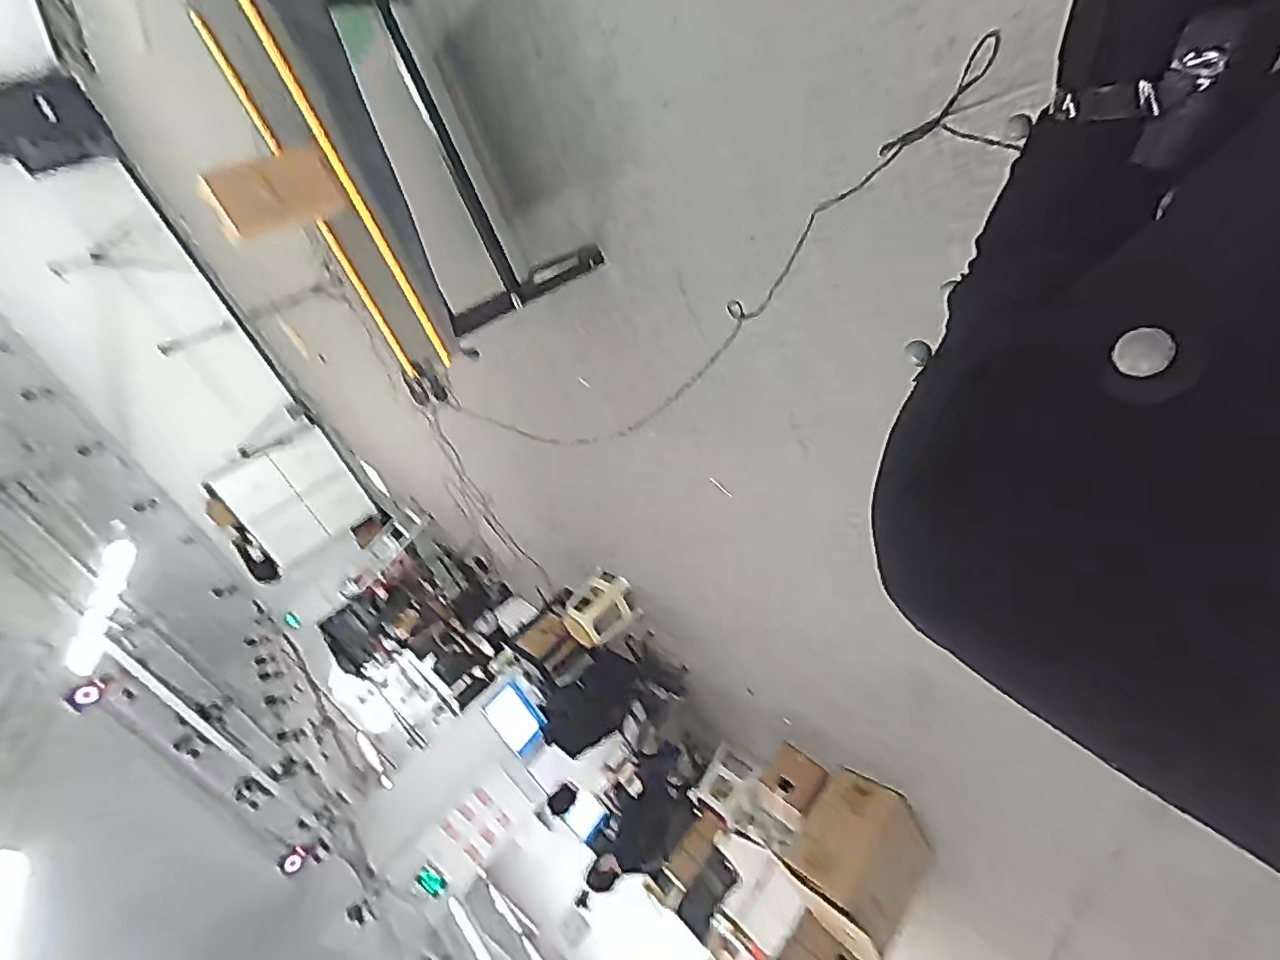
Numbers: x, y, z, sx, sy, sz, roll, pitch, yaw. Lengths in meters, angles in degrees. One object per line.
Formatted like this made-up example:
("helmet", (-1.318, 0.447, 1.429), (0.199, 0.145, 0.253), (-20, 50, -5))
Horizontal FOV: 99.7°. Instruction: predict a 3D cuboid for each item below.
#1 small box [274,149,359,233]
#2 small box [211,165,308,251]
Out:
("small box", (-0.998, -0.885, 1.662), (0.179, 0.176, 0.168), (11, 132, 50))
("small box", (-1.109, -0.794, 1.582), (0.179, 0.176, 0.168), (10, 130, 49))
